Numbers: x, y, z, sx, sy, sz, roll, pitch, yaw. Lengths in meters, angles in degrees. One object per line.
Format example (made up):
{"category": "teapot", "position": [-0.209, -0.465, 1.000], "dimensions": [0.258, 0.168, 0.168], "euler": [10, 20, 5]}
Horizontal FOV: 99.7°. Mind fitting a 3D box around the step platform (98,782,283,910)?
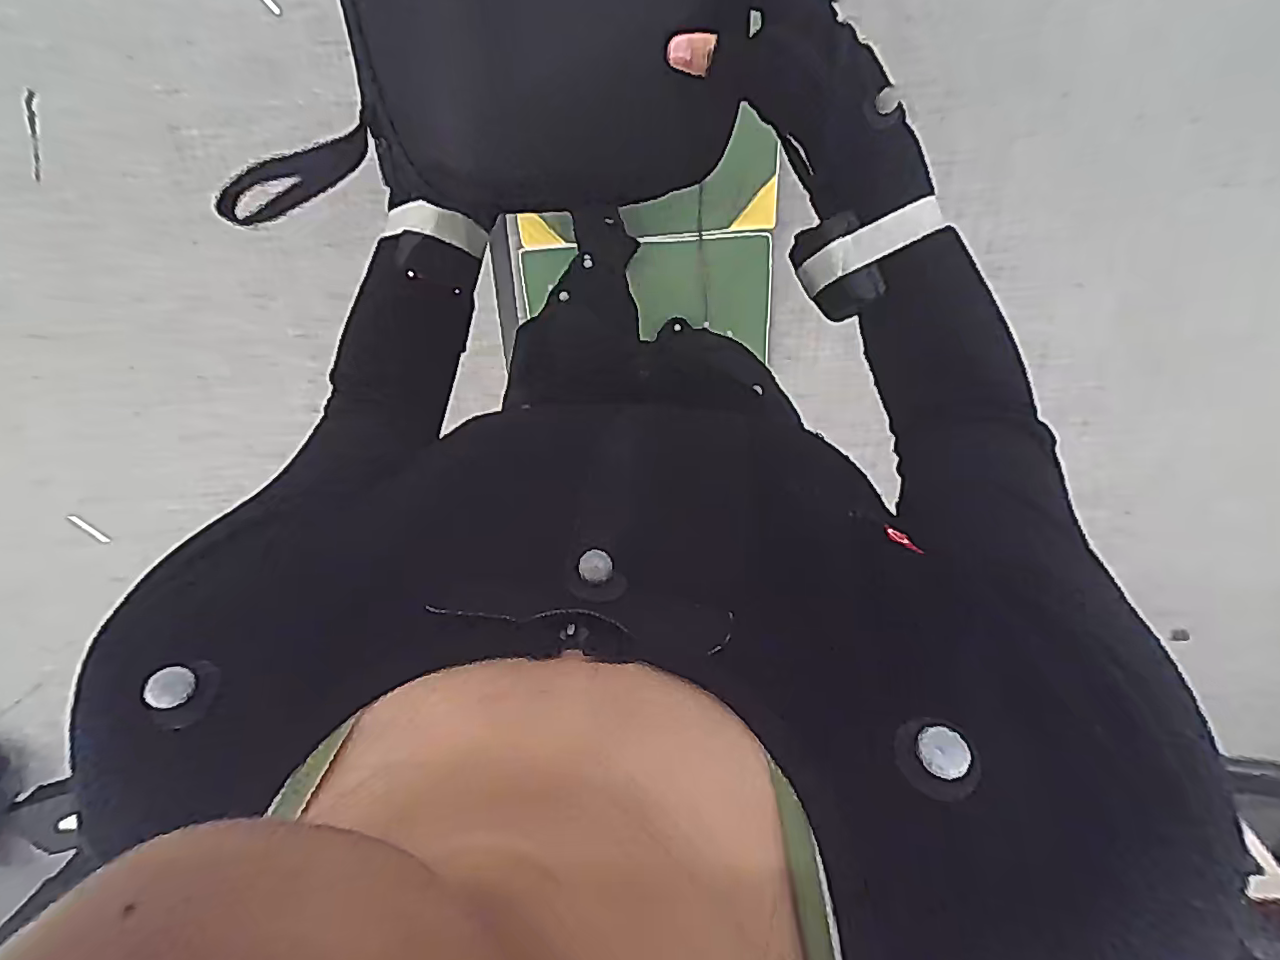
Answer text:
{"category": "step platform", "position": [-1.827, 1.494, 2.197], "dimensions": [0.684, 0.204, 0.286], "euler": [-30, 110, 13]}
